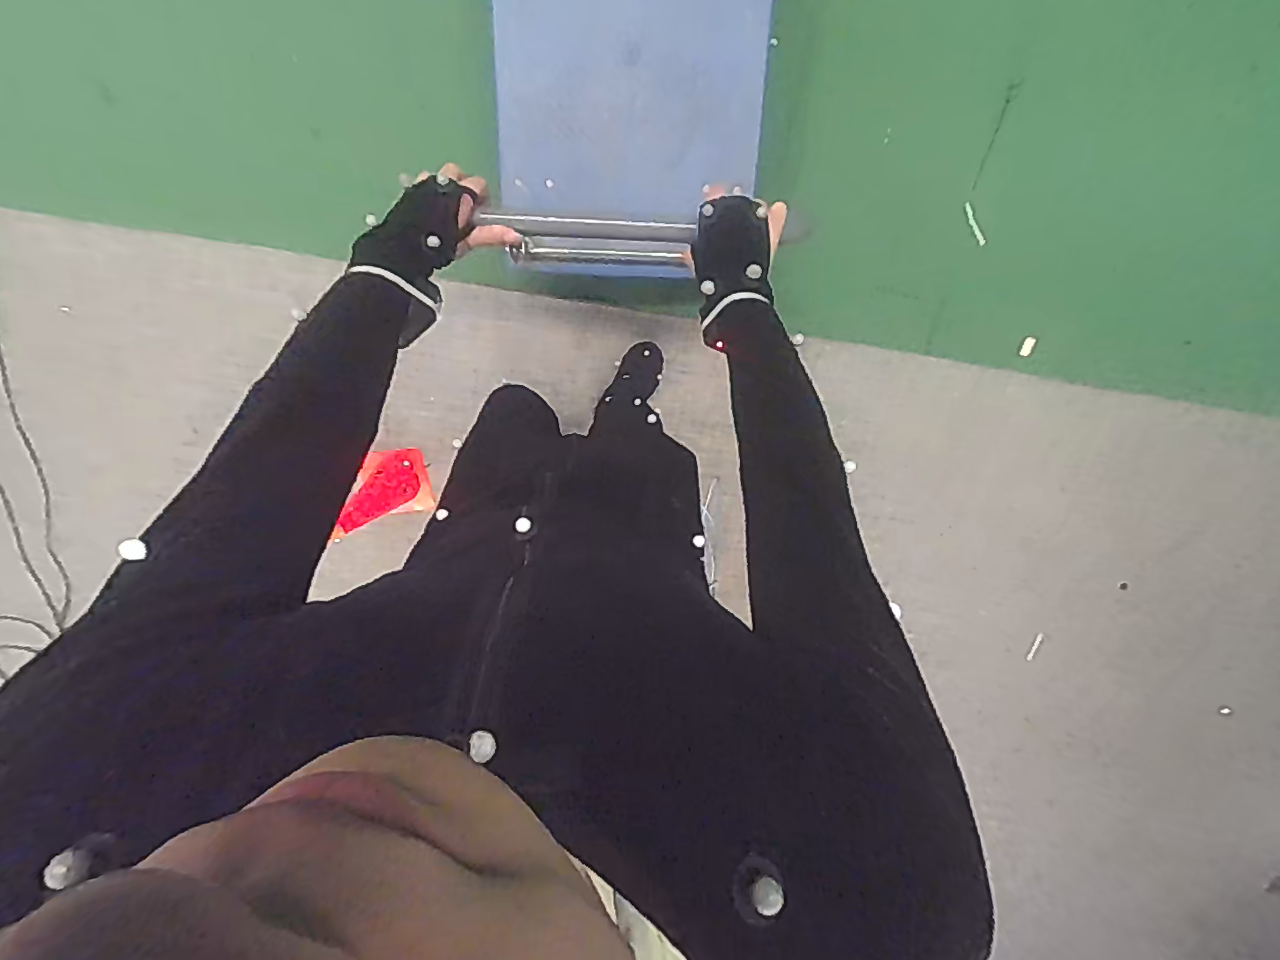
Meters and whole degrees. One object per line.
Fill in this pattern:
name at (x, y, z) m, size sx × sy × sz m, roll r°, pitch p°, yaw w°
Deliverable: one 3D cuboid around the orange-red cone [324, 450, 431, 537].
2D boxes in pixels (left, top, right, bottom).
orange-red cone at (-0.738, 0.064, 1.457) m, size 0.199 × 0.360 × 0.198 m, roll -5°, pitch 109°, yaw 3°
